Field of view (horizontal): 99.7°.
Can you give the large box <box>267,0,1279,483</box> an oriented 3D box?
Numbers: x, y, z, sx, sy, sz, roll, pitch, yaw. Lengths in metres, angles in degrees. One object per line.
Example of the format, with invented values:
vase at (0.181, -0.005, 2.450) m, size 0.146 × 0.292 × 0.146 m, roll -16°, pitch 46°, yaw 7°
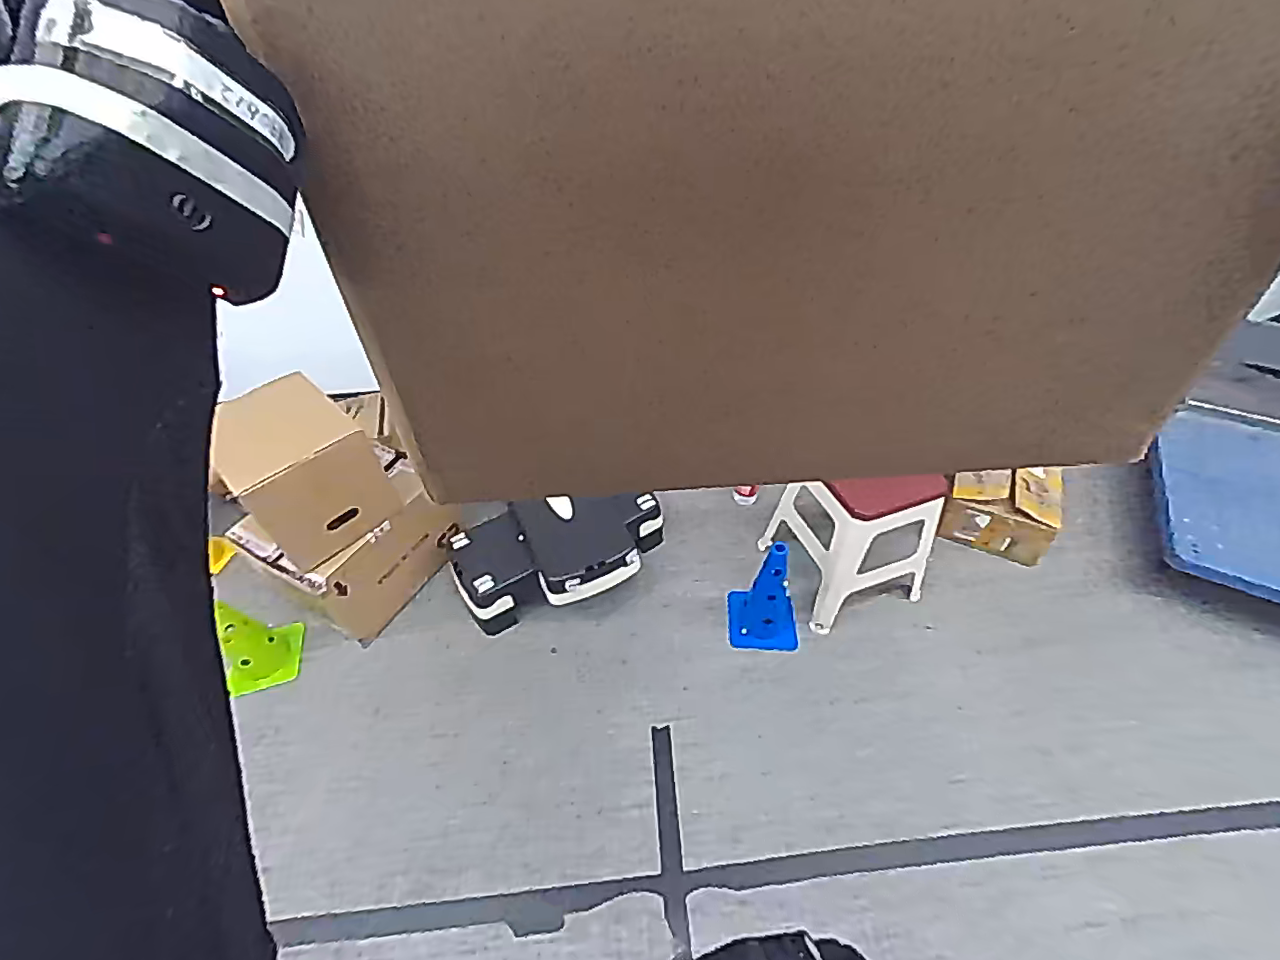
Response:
large box at (0.069, -0.218, 0.318) m, size 0.408 × 0.320 × 0.320 m, roll -3°, pitch 42°, yaw -2°
